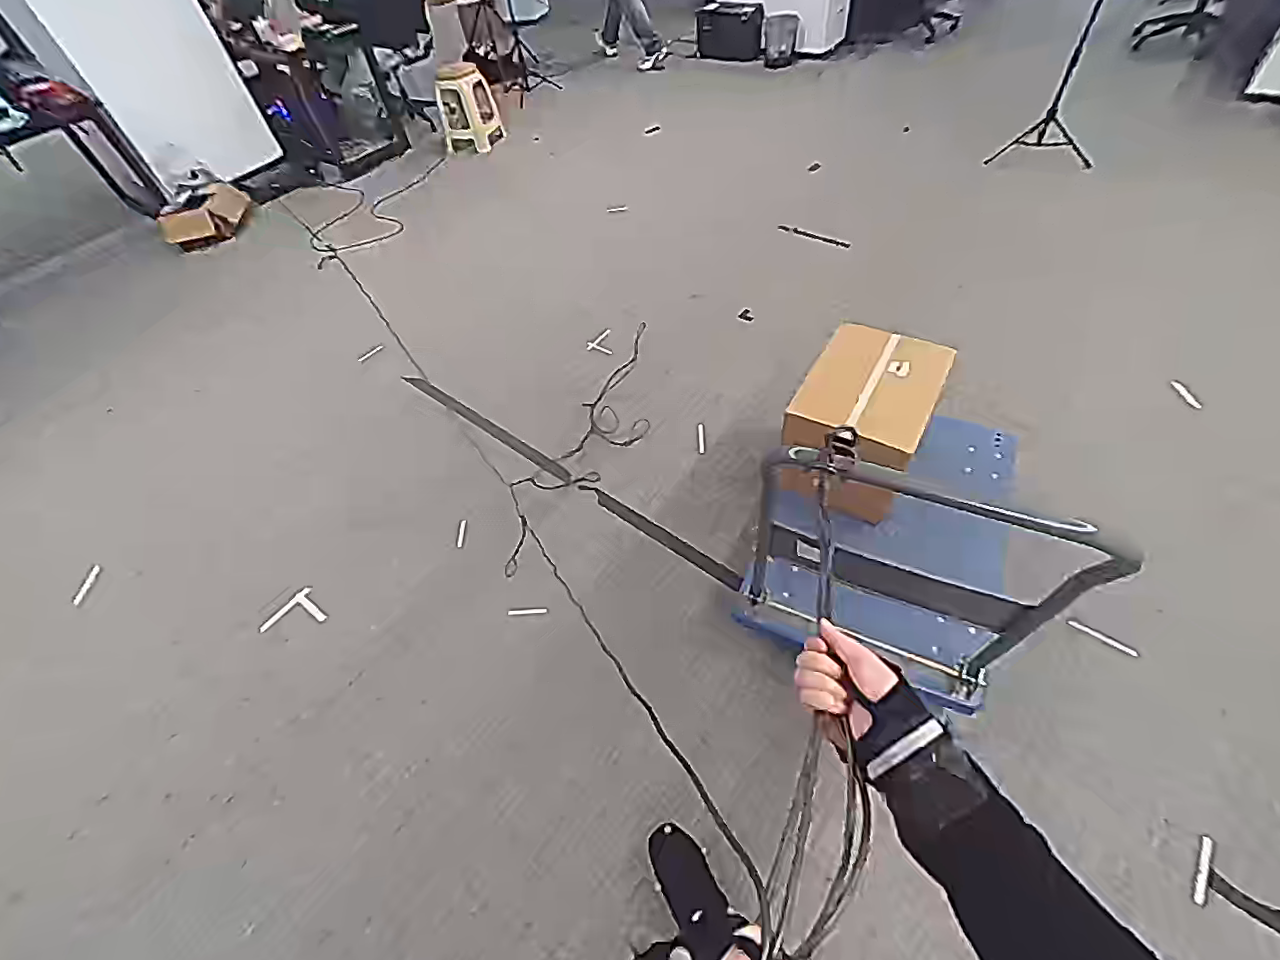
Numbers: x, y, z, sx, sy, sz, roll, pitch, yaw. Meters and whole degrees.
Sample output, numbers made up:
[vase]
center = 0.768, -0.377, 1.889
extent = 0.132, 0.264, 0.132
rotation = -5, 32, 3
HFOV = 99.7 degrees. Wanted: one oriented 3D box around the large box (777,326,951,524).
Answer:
[large box]
center = 0.607, -0.156, 1.499
extent = 0.320, 0.320, 0.408
rotation = 24, 59, 23
